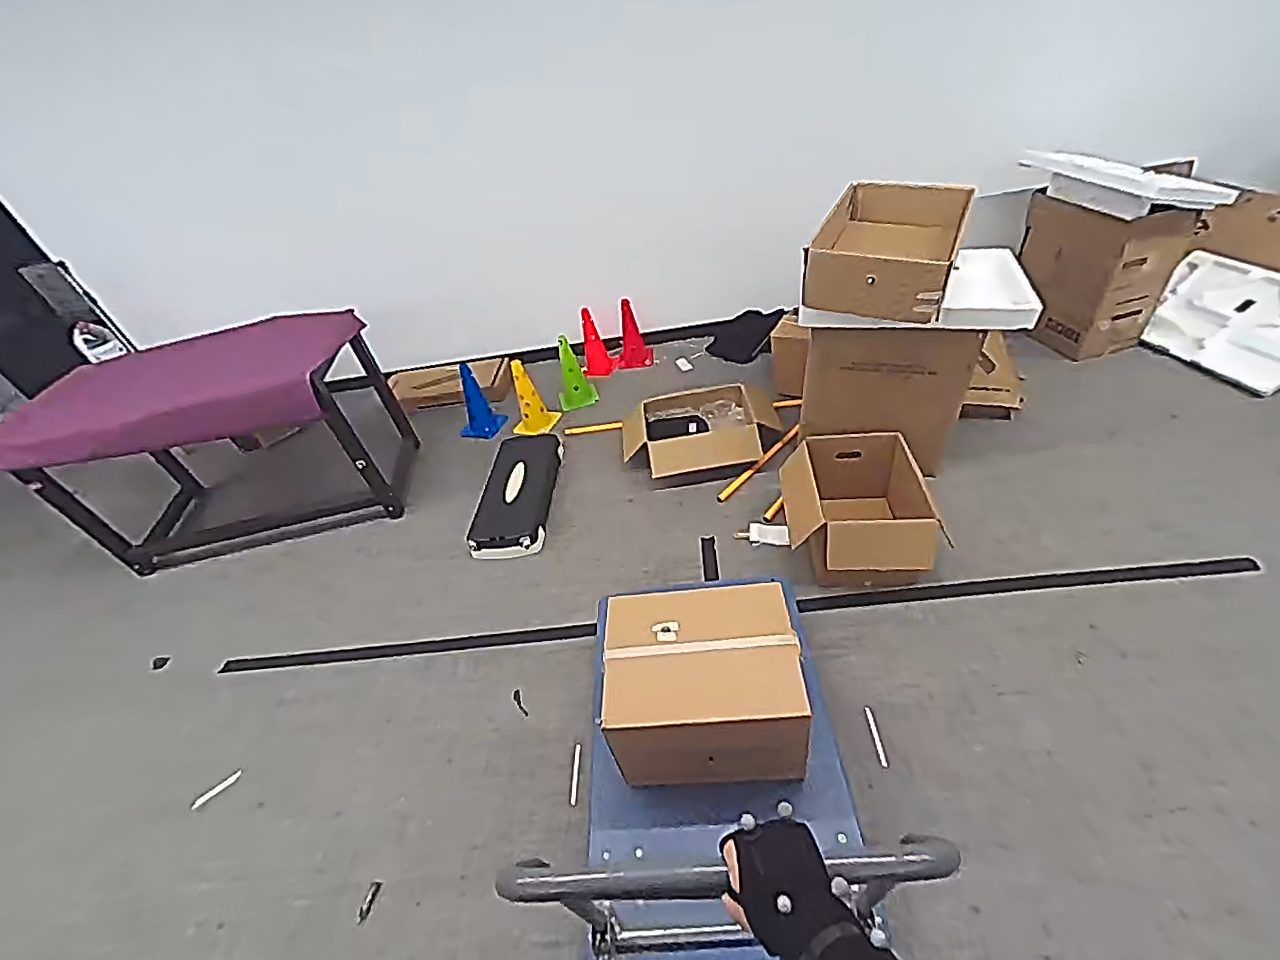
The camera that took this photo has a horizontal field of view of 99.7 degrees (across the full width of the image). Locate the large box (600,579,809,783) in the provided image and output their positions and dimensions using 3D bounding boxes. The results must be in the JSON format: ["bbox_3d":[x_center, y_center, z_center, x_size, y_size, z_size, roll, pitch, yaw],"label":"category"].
[{"bbox_3d":[0.144,0.461,1.230,0.408,0.320,0.320,-8,40,7],"label":"large box"}]
